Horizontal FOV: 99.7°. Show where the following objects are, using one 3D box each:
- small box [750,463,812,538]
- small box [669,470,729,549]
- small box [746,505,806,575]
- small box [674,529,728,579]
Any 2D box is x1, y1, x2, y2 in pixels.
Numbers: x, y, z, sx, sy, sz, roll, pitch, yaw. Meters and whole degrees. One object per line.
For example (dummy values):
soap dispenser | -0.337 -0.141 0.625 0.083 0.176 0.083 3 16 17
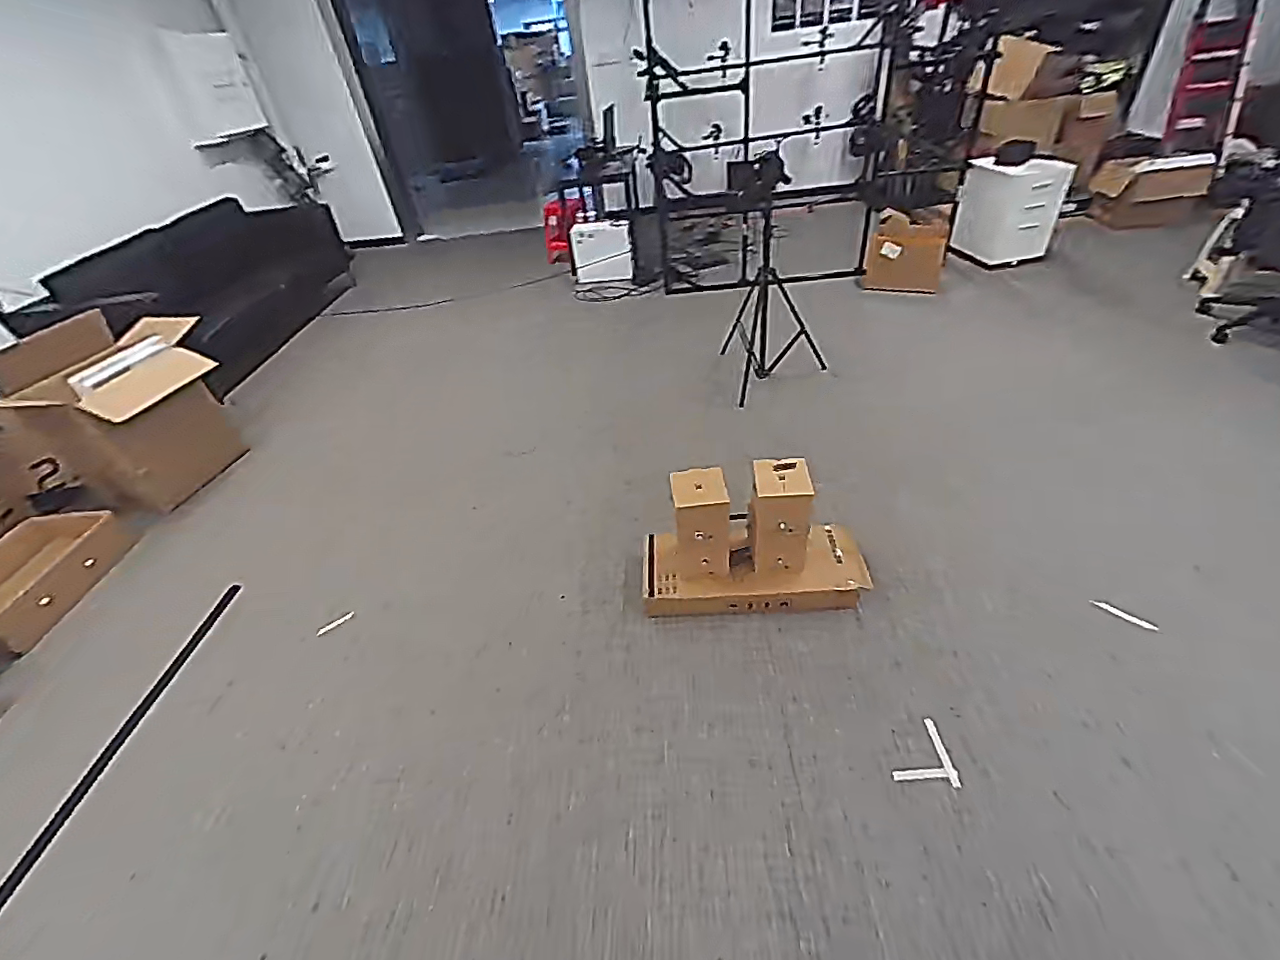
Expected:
small box | 0.441 0.065 1.710 0.168 0.176 0.179 -3 39 7
small box | 0.186 0.093 1.719 0.168 0.176 0.179 -8 39 1
small box | 0.450 0.195 1.811 0.168 0.176 0.179 -5 38 4
small box | 0.203 0.219 1.823 0.168 0.176 0.179 -6 39 3
